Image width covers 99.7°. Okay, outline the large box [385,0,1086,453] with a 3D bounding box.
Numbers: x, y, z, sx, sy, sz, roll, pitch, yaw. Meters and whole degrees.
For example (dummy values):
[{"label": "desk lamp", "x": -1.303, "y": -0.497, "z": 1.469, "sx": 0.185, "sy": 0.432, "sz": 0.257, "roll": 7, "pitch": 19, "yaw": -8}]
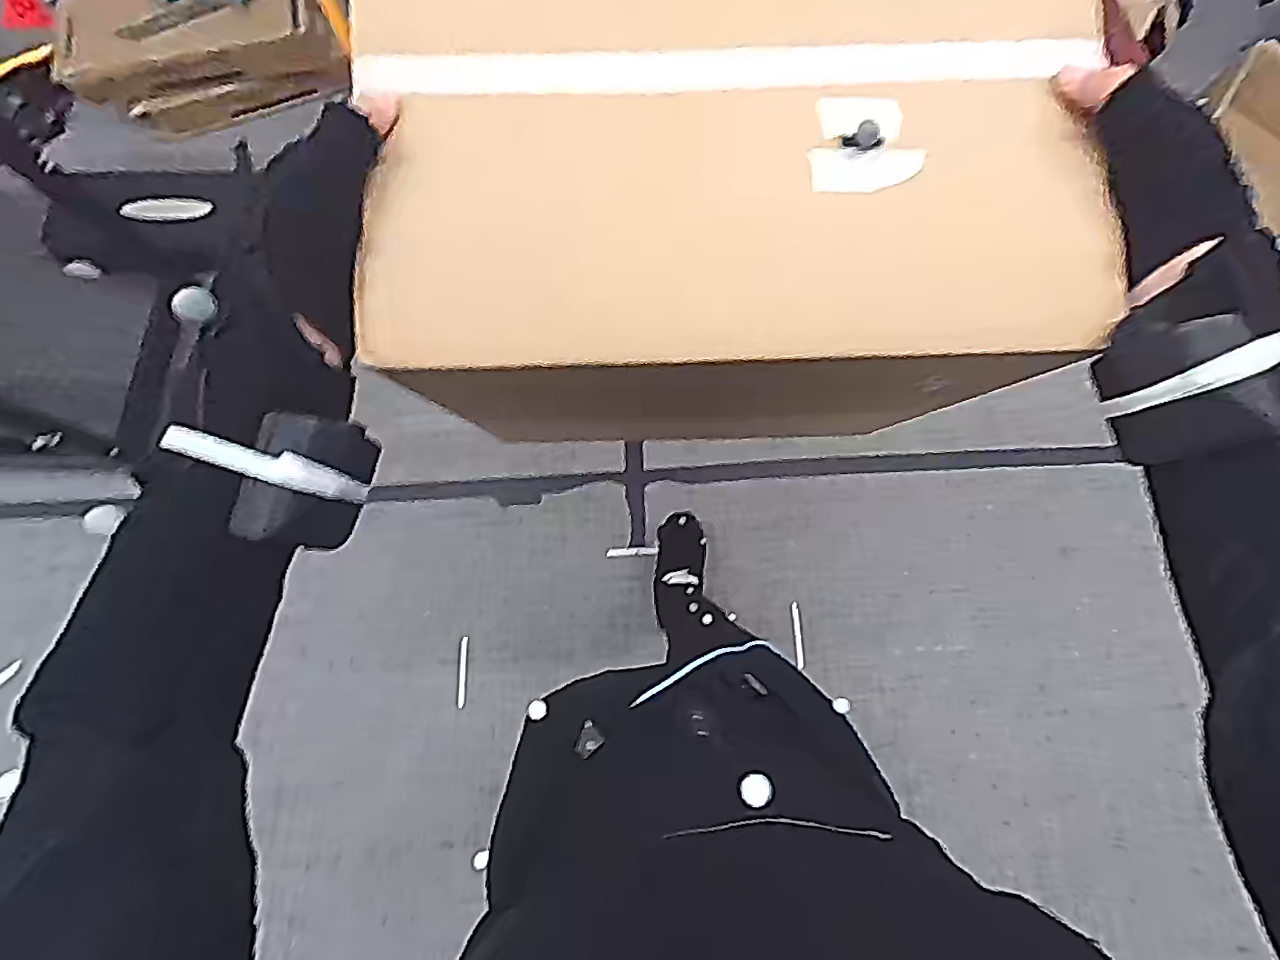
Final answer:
[{"label": "large box", "x": 0.048, "y": -0.201, "z": 0.463, "sx": 0.408, "sy": 0.320, "sz": 0.320, "roll": -2, "pitch": 87, "yaw": -1}]
